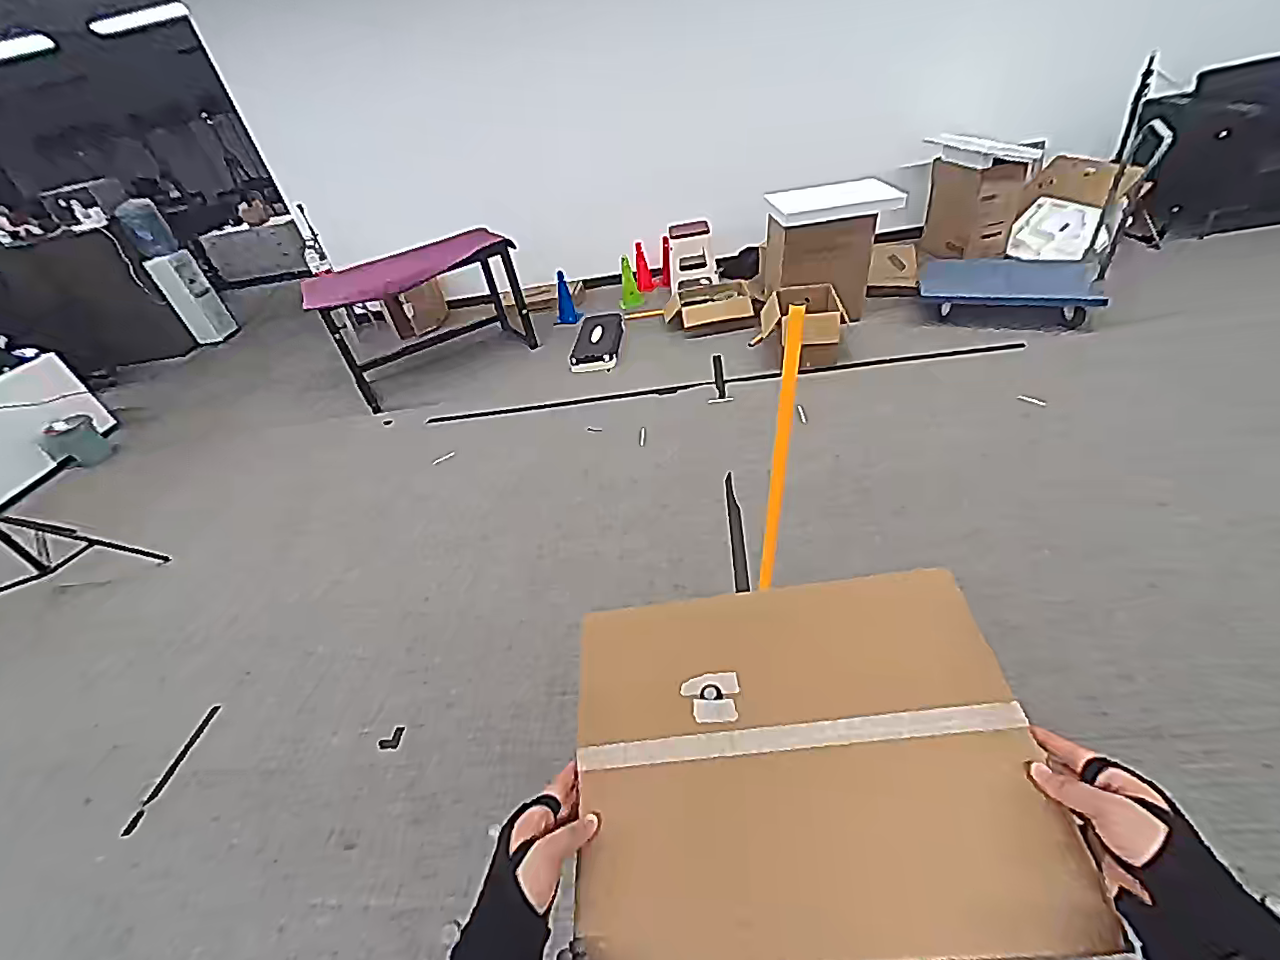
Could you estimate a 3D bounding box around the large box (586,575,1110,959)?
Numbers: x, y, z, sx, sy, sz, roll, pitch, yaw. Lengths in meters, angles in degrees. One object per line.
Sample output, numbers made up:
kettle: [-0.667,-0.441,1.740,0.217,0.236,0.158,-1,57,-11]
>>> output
large box: [0.173,0.347,0.620,0.408,0.320,0.320,-10,46,7]
